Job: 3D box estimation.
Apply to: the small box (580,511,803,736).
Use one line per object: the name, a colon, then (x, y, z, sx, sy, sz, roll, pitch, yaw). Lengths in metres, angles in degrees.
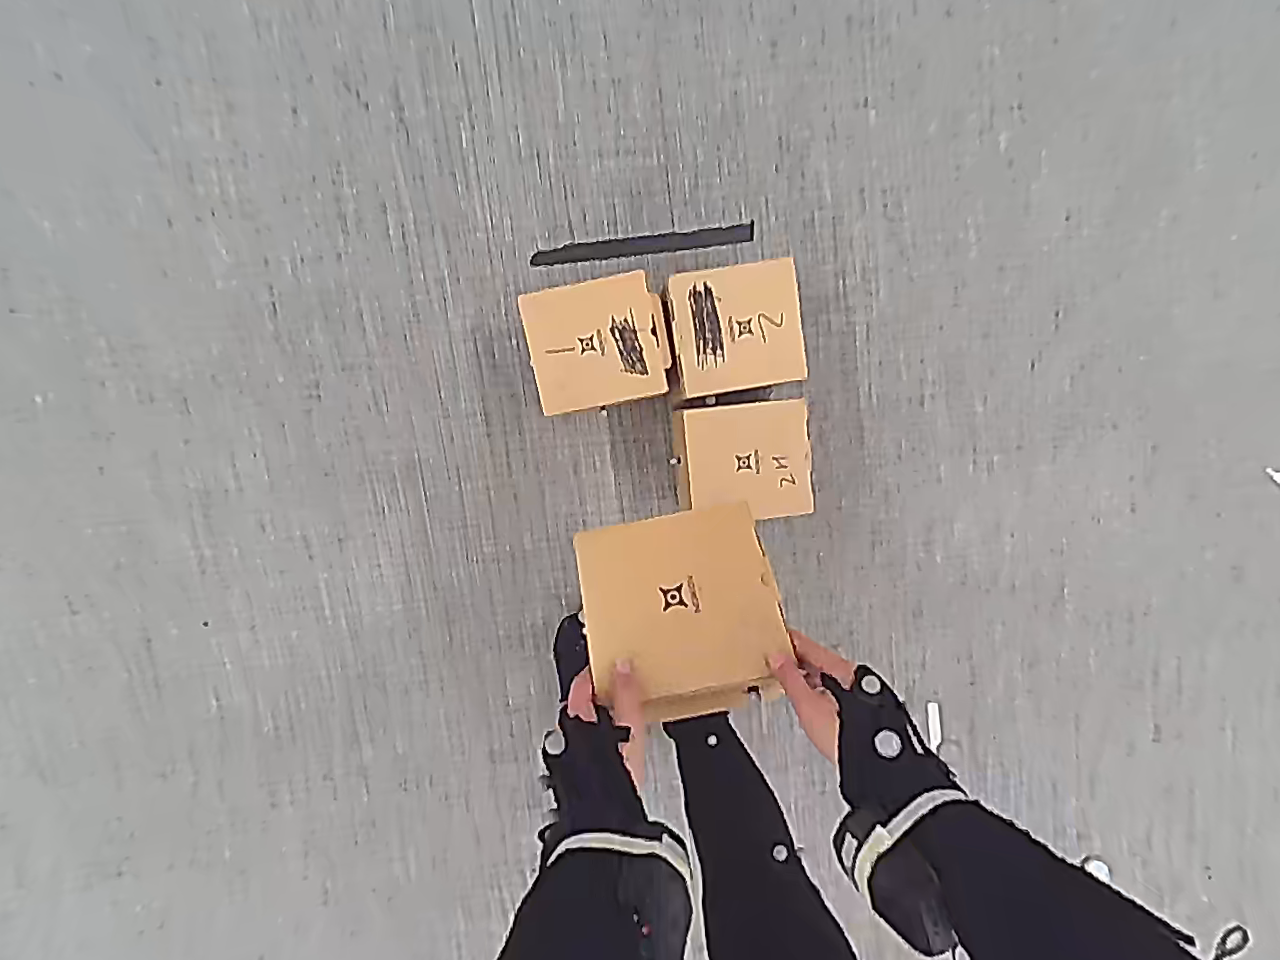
small box: (0.046, 0.154, 0.553, 0.179, 0.176, 0.168, -11, 60, -1)
